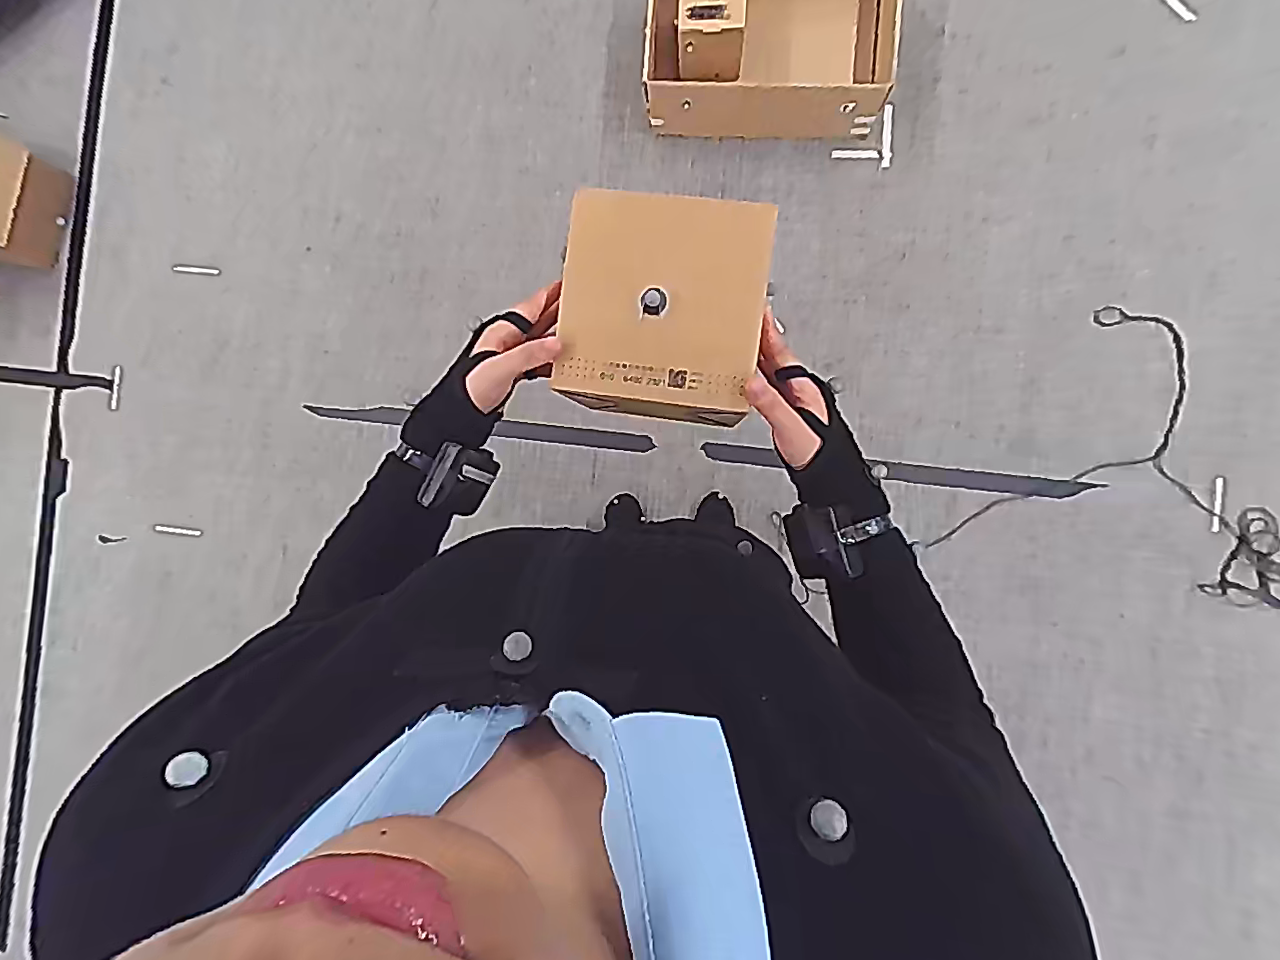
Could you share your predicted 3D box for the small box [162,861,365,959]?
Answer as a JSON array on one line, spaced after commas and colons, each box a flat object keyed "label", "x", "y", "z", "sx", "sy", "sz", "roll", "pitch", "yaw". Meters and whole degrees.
[{"label": "small box", "x": -0.496, "y": 0.664, "z": 0.718, "sx": 0.168, "sy": 0.176, "sz": 0.179, "roll": 10, "pitch": 90, "yaw": 5}]

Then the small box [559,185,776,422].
[{"label": "small box", "x": 0.027, "y": -0.149, "z": 0.514, "sx": 0.168, "sy": 0.179, "sz": 0.176, "roll": 9, "pitch": 93, "yaw": 6}]
